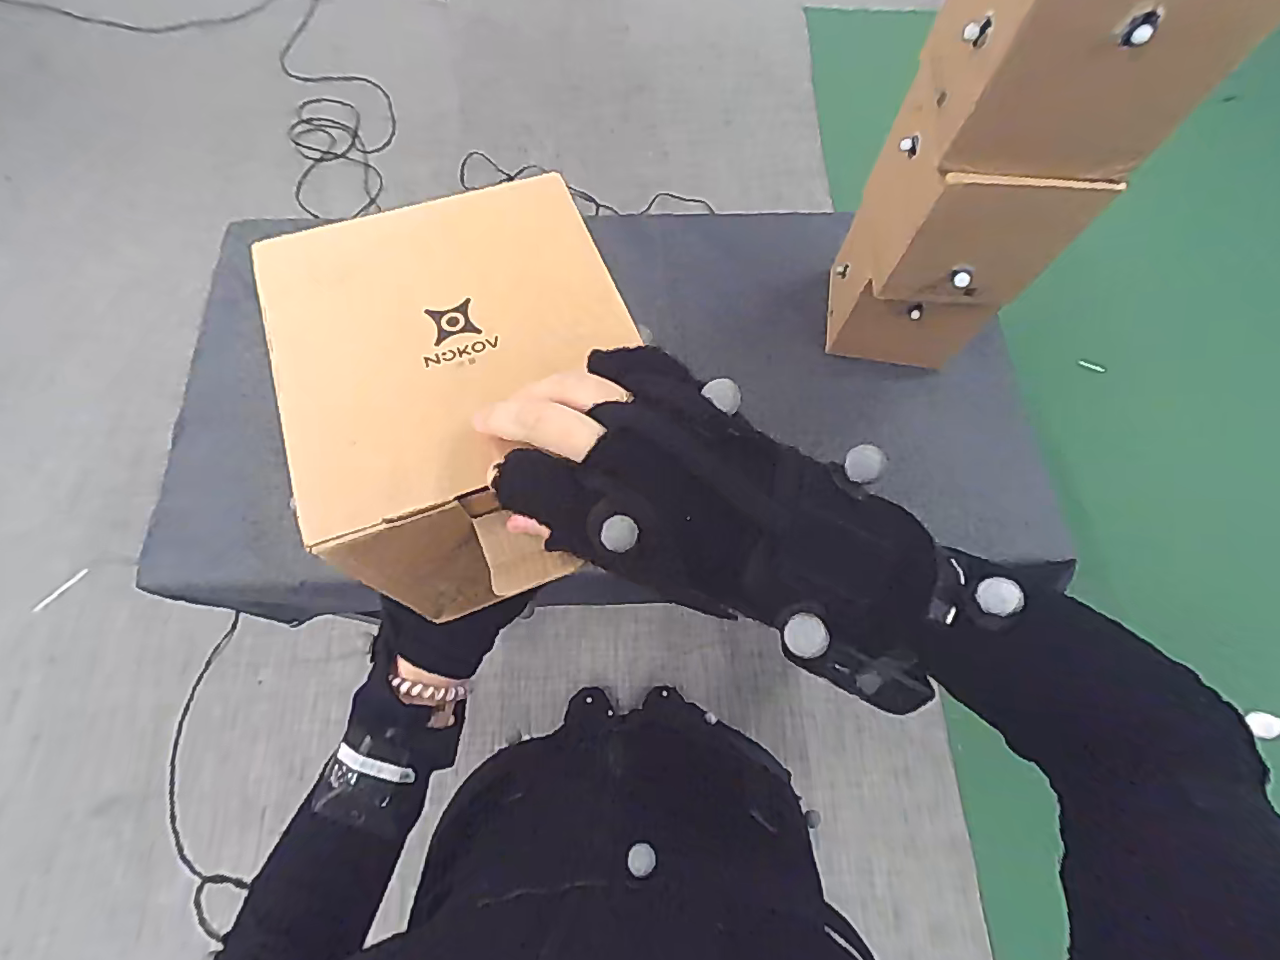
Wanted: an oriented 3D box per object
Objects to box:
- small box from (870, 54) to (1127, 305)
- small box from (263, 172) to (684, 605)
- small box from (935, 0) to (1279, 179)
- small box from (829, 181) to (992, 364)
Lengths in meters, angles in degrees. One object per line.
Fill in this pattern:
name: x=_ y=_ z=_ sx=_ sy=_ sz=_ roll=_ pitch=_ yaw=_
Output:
small box: x=0.370 y=-0.323 z=0.599 sx=0.168 sy=0.176 sz=0.179 roll=4 pitch=71 yaw=2
small box: x=-0.090 y=-0.044 z=0.332 sx=0.168 sy=0.176 sz=0.179 roll=-19 pitch=69 yaw=-11
small box: x=0.367 y=-0.382 z=0.447 sx=0.179 sy=0.176 sz=0.168 roll=6 pitch=71 yaw=2
small box: x=0.378 y=-0.282 z=0.759 sx=0.179 sy=0.176 sz=0.168 roll=10 pitch=70 yaw=3
